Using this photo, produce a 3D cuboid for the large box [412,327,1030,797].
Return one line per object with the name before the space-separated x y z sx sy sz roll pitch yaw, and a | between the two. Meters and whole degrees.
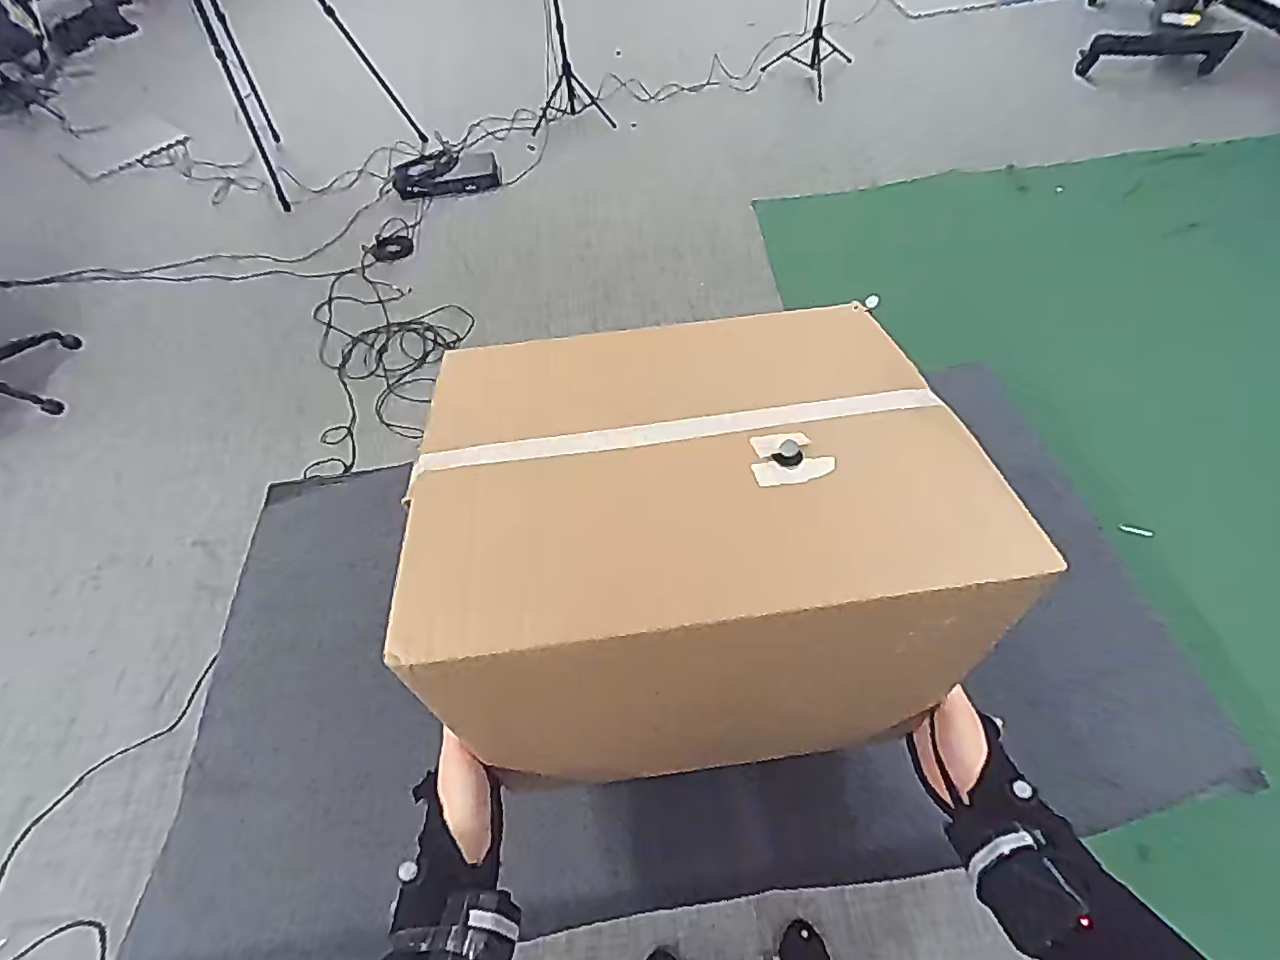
large box | 0.043 0.082 0.542 0.408 0.320 0.320 -7 48 -3
